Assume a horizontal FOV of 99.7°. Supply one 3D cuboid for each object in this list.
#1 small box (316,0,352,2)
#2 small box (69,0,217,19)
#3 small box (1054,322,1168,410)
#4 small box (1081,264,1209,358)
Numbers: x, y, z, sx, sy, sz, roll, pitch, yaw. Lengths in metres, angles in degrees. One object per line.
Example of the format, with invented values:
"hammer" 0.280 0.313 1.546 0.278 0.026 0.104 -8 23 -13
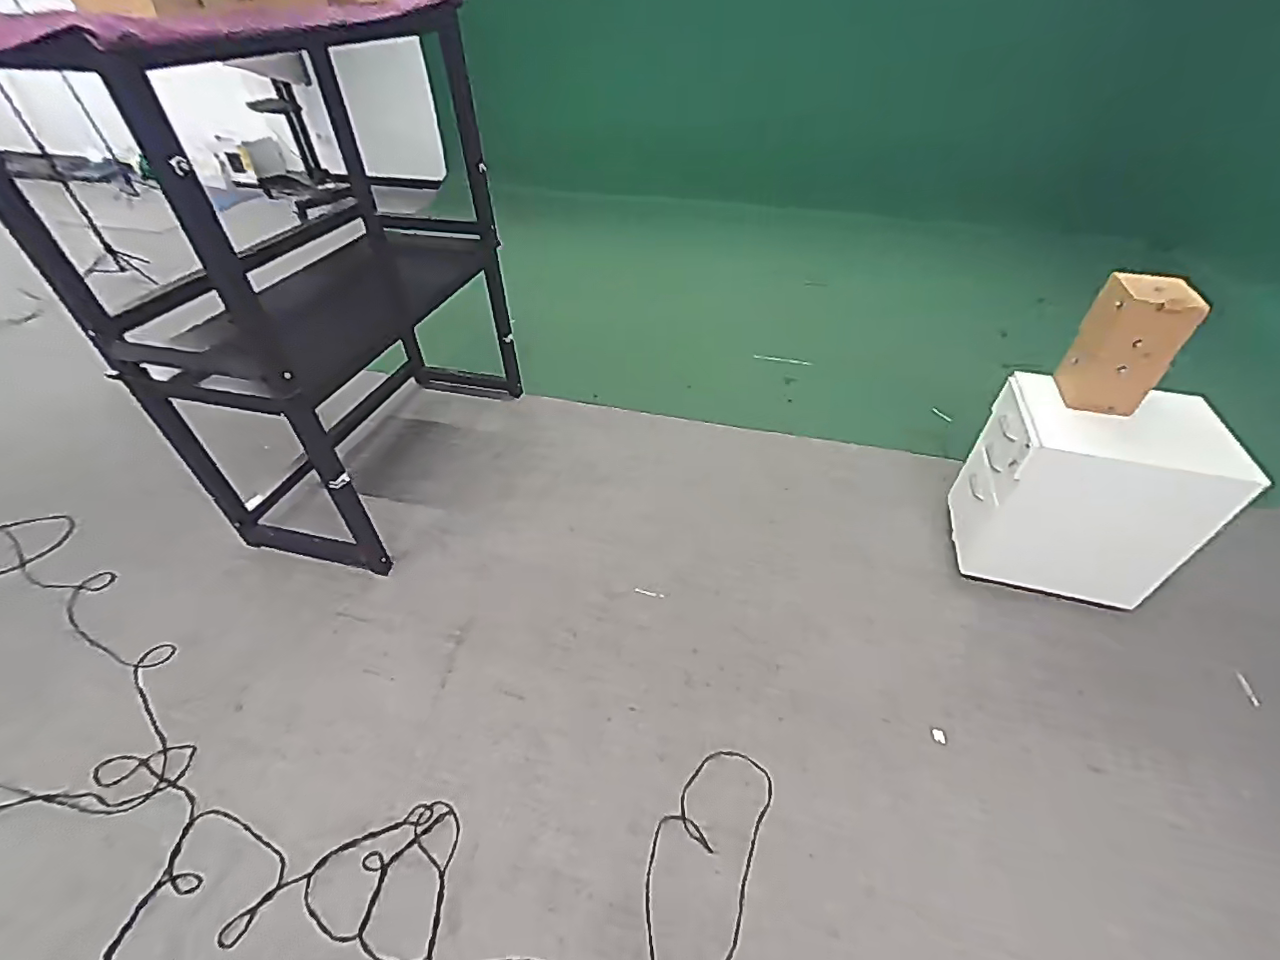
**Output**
"small box" -0.814 -1.391 1.440 0.168 0.176 0.179 9 44 13
"small box" -0.919 -0.939 0.962 0.179 0.176 0.168 8 43 9
"small box" 1.333 -0.328 1.549 0.168 0.176 0.179 11 45 12
"small box" 1.328 -0.449 1.440 0.168 0.176 0.179 11 46 11
